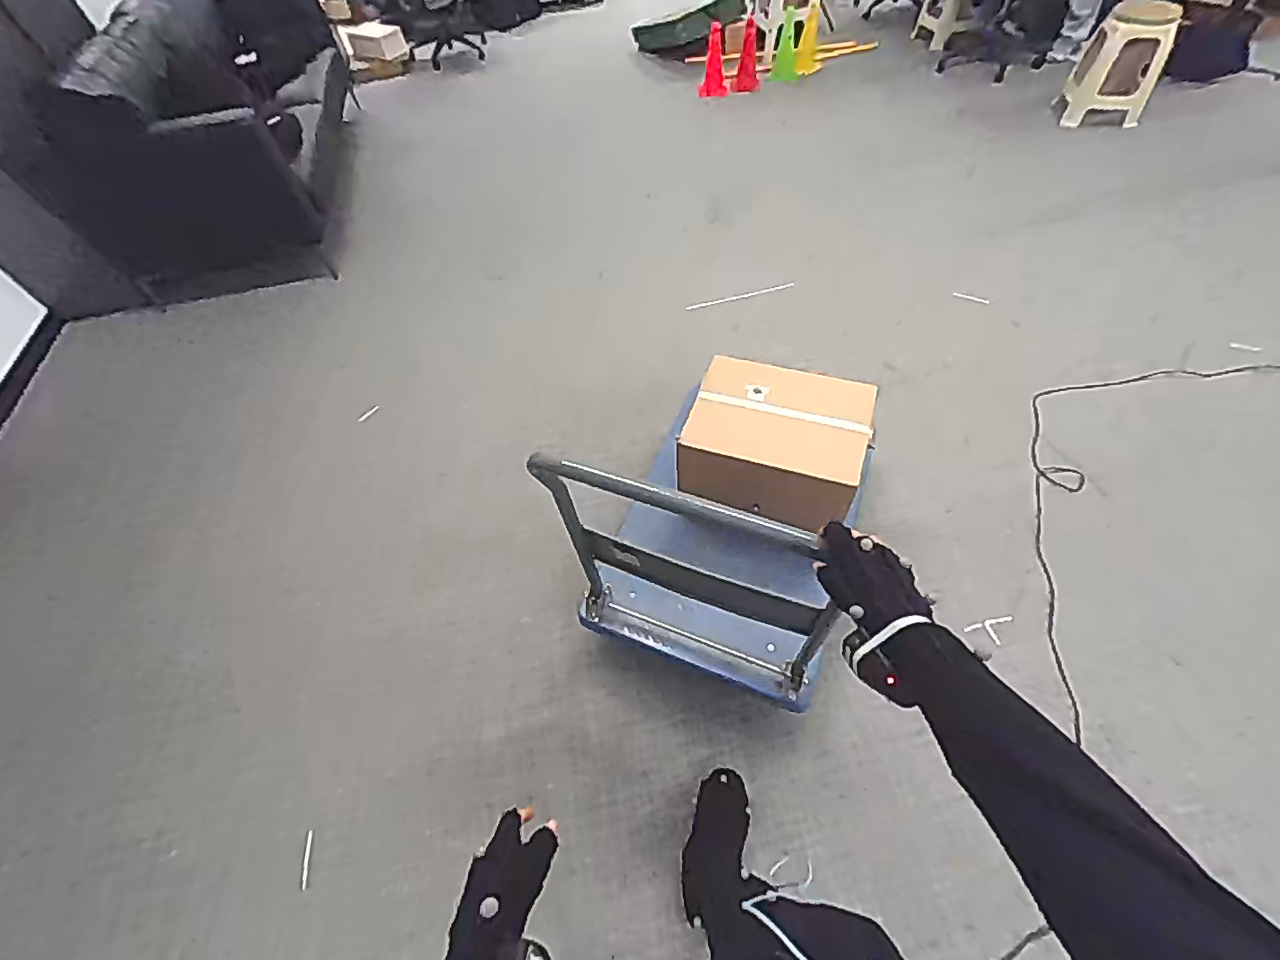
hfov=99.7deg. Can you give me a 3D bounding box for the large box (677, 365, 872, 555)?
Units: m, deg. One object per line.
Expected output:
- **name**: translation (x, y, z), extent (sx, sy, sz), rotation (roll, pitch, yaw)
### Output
- **large box**: translation (0.338, -0.052, 1.385), extent (0.408, 0.320, 0.320), rotation (14, 56, 17)
